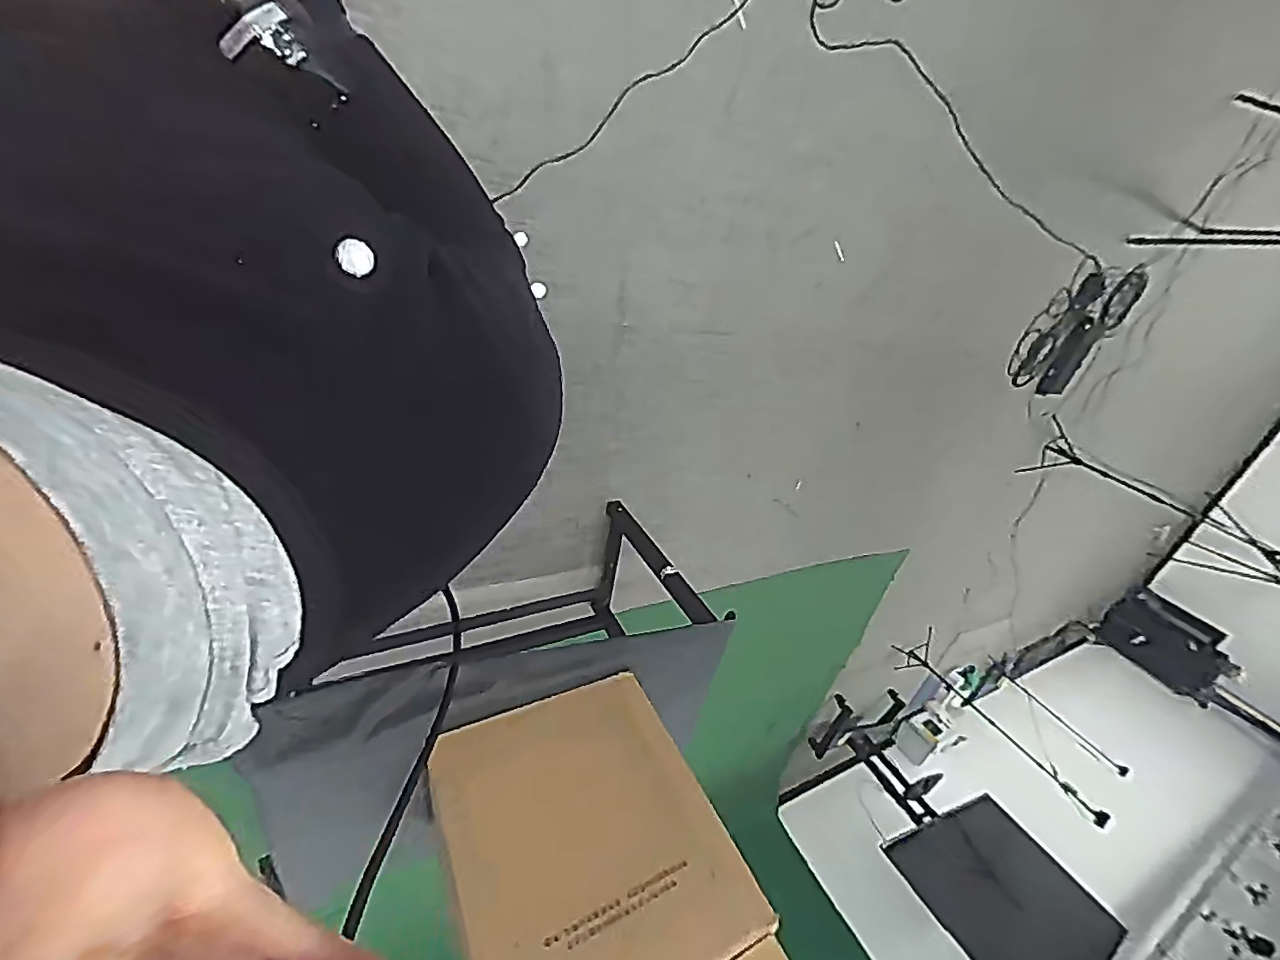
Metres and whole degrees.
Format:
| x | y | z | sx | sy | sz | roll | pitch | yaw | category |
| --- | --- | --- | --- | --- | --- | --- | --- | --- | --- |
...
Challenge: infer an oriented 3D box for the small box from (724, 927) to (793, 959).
| x | y | z | sx | sy | sz | roll | pitch | yaw | category |
| --- | --- | --- | --- | --- | --- | --- | --- | --- | --- |
| 0.211 | 0.968 | 0.976 | 0.179 | 0.176 | 0.168 | -10 | 125 | -30 | small box |
